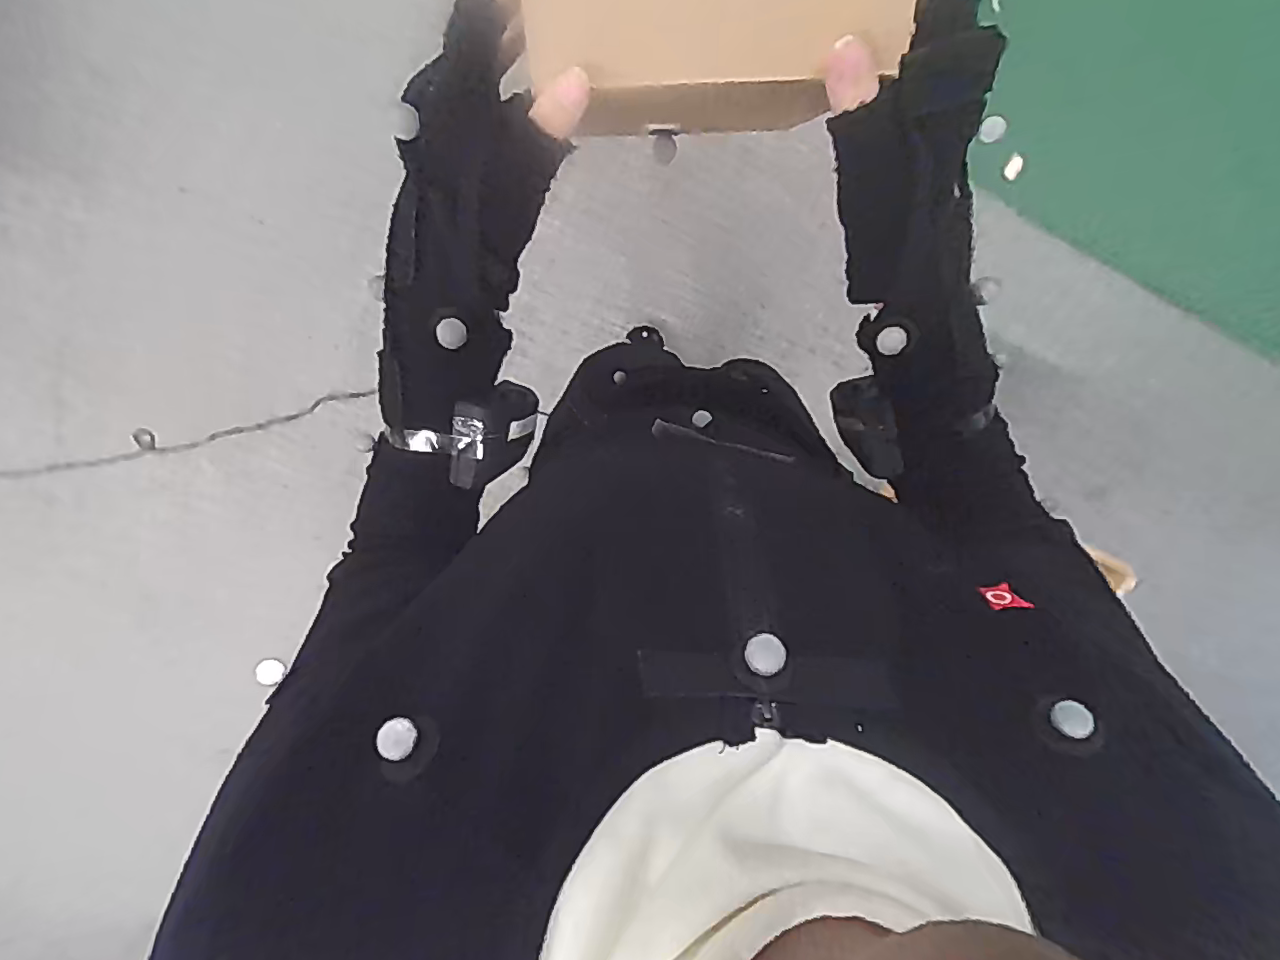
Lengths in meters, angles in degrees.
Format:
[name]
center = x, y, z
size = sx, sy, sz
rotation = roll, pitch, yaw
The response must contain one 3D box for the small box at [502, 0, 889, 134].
[small box]
center = 0.016, -0.290, 0.270
size = 0.168, 0.176, 0.179
rotation = -4, 116, -1
